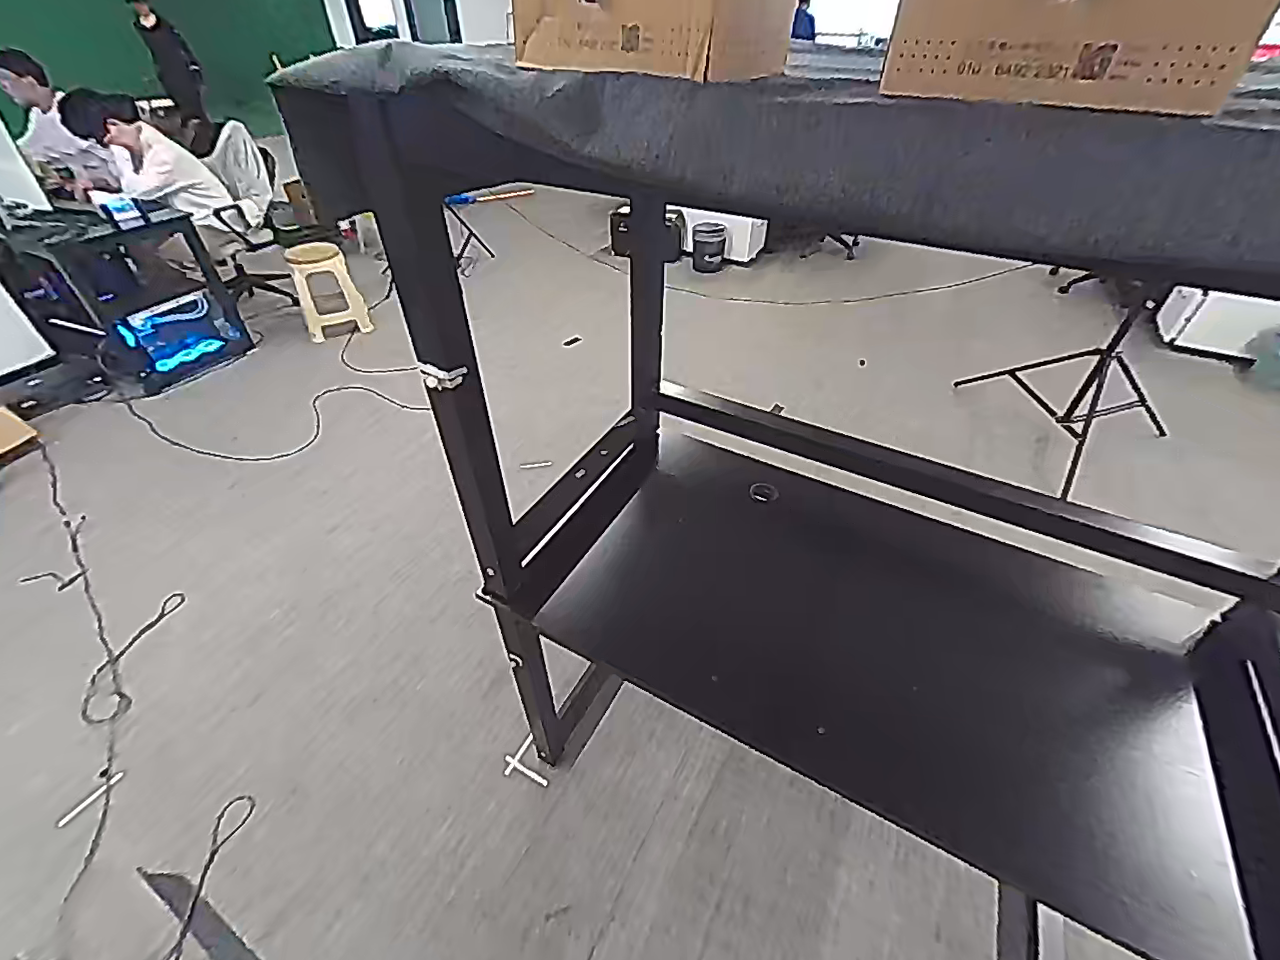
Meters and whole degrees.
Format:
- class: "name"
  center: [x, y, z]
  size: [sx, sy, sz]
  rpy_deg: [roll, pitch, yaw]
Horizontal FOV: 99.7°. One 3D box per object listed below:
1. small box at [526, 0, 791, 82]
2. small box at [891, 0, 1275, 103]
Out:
- class: "small box"
  center: [0.020, -0.409, 0.398]
  size: [0.168, 0.176, 0.179]
  rpy_deg: [21, 44, 20]
- class: "small box"
  center: [0.259, -0.322, 0.300]
  size: [0.168, 0.176, 0.179]
  rpy_deg: [21, 43, 22]
